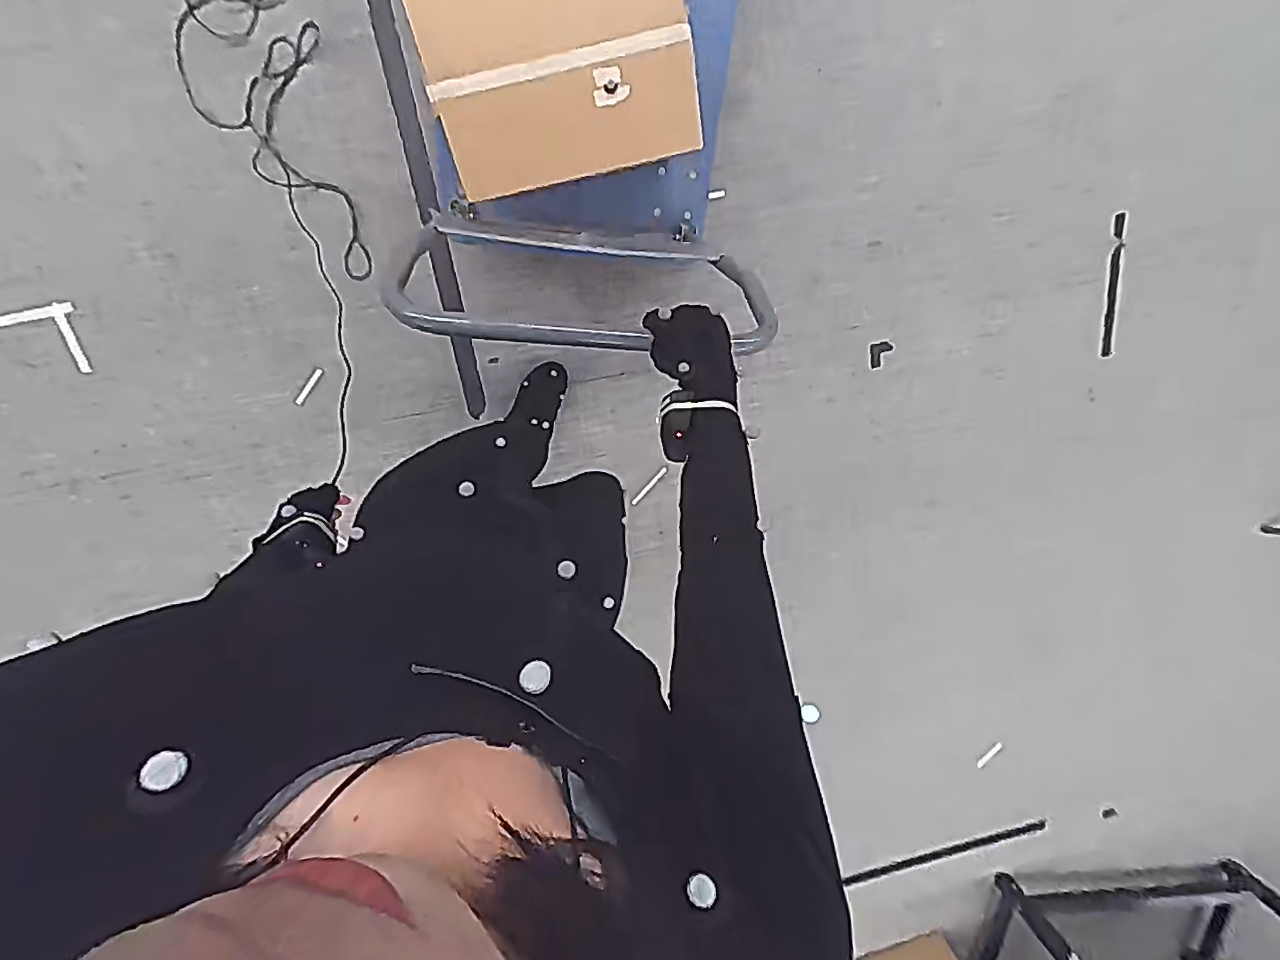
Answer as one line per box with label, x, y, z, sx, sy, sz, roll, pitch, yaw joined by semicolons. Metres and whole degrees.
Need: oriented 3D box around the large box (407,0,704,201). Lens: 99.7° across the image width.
large box;-0.138;-0.711;0.956;0.408;0.320;0.320;-15;120;-1
